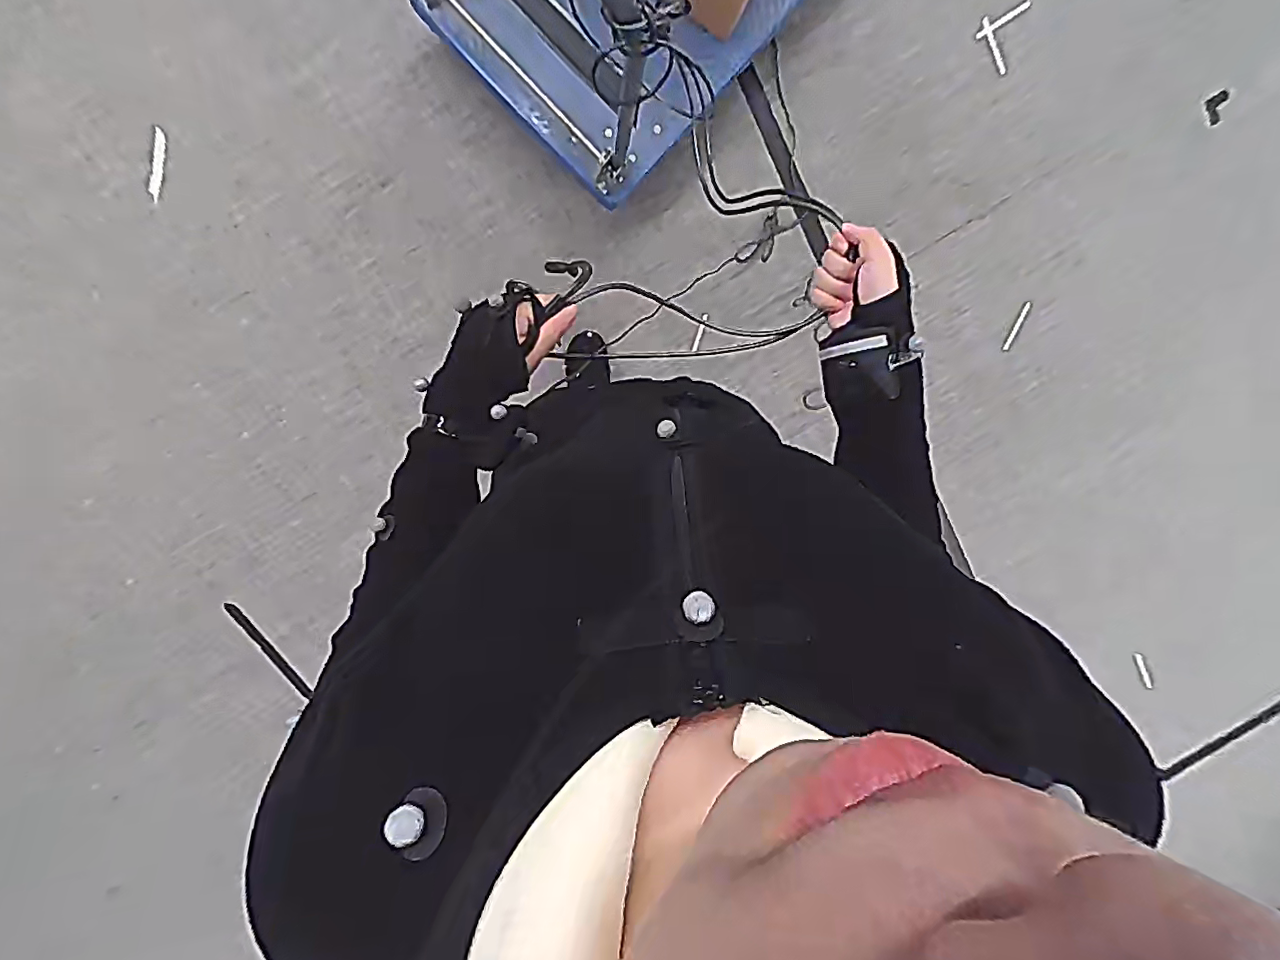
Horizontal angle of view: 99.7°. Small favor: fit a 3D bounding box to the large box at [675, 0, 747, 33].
[{"bbox_3d":[0.094,-1.109,0.925,0.408,0.320,0.320,27,99,-12],"label":"large box"}]
